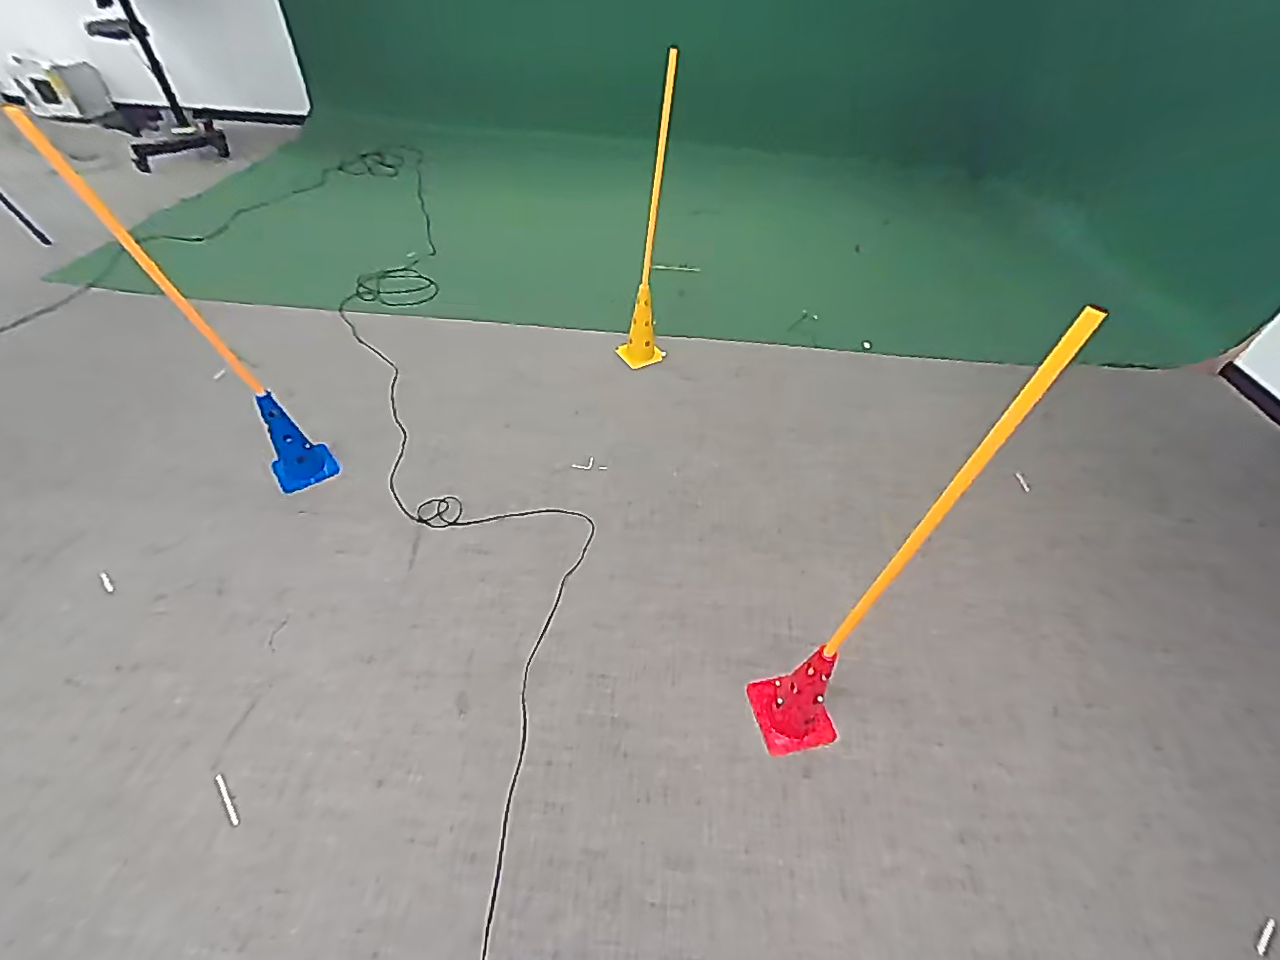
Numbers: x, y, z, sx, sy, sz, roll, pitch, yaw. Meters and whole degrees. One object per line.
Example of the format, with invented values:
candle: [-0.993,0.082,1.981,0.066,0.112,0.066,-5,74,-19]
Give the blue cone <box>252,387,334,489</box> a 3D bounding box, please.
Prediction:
blue cone: [-1.250,-0.162,1.893,0.193,0.380,0.192,-31,57,-27]
